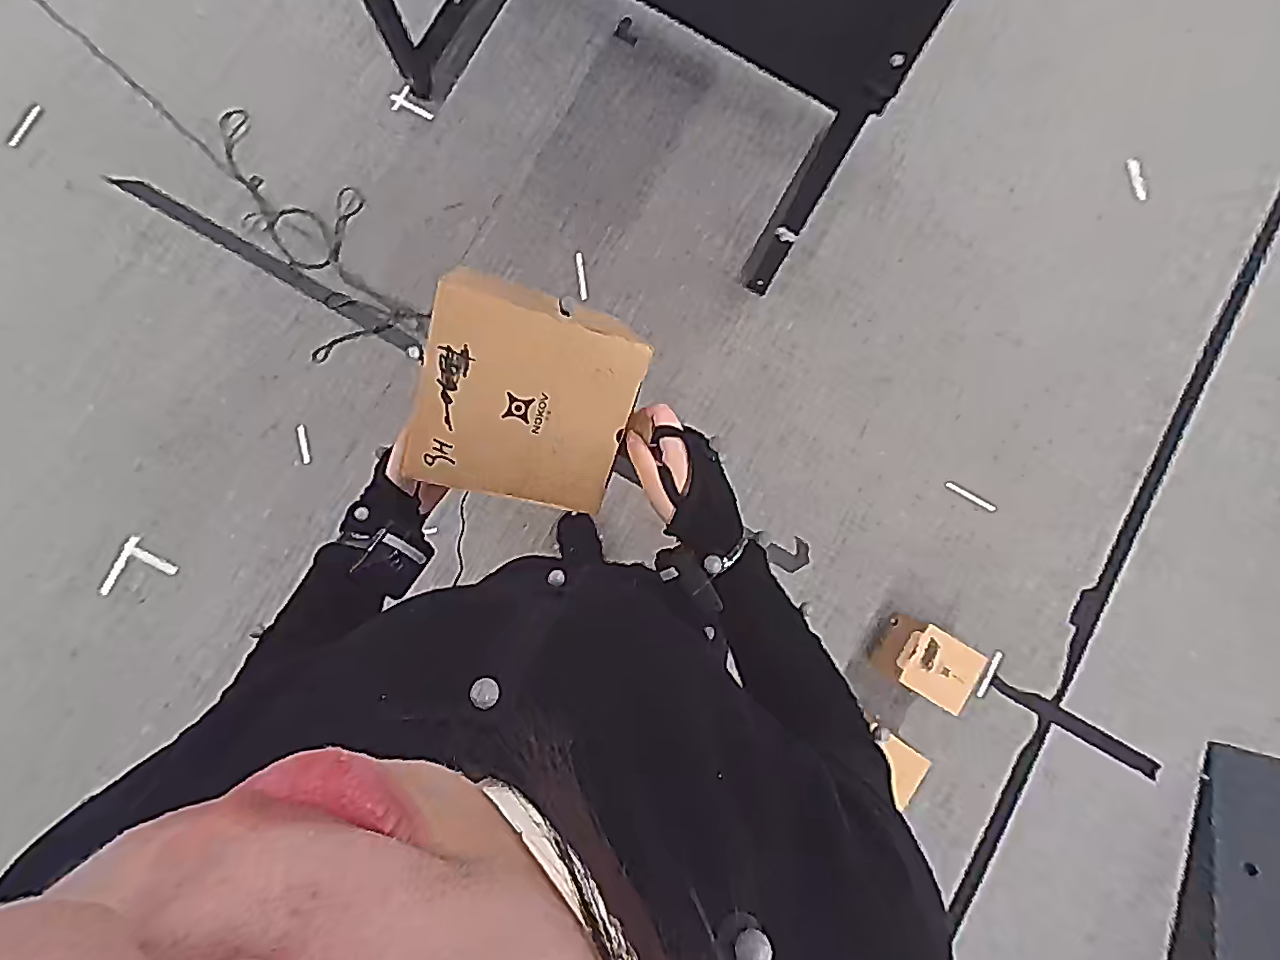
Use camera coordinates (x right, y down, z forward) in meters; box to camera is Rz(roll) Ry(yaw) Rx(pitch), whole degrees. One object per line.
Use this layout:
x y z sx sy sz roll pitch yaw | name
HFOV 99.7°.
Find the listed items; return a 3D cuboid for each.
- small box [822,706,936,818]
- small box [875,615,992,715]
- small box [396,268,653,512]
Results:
0.602 0.709 1.388 0.179 0.176 0.168 35 87 1 | small box
0.750 0.469 1.404 0.179 0.176 0.168 31 87 0 | small box
-0.112 -0.091 0.510 0.179 0.176 0.168 12 110 -20 | small box
